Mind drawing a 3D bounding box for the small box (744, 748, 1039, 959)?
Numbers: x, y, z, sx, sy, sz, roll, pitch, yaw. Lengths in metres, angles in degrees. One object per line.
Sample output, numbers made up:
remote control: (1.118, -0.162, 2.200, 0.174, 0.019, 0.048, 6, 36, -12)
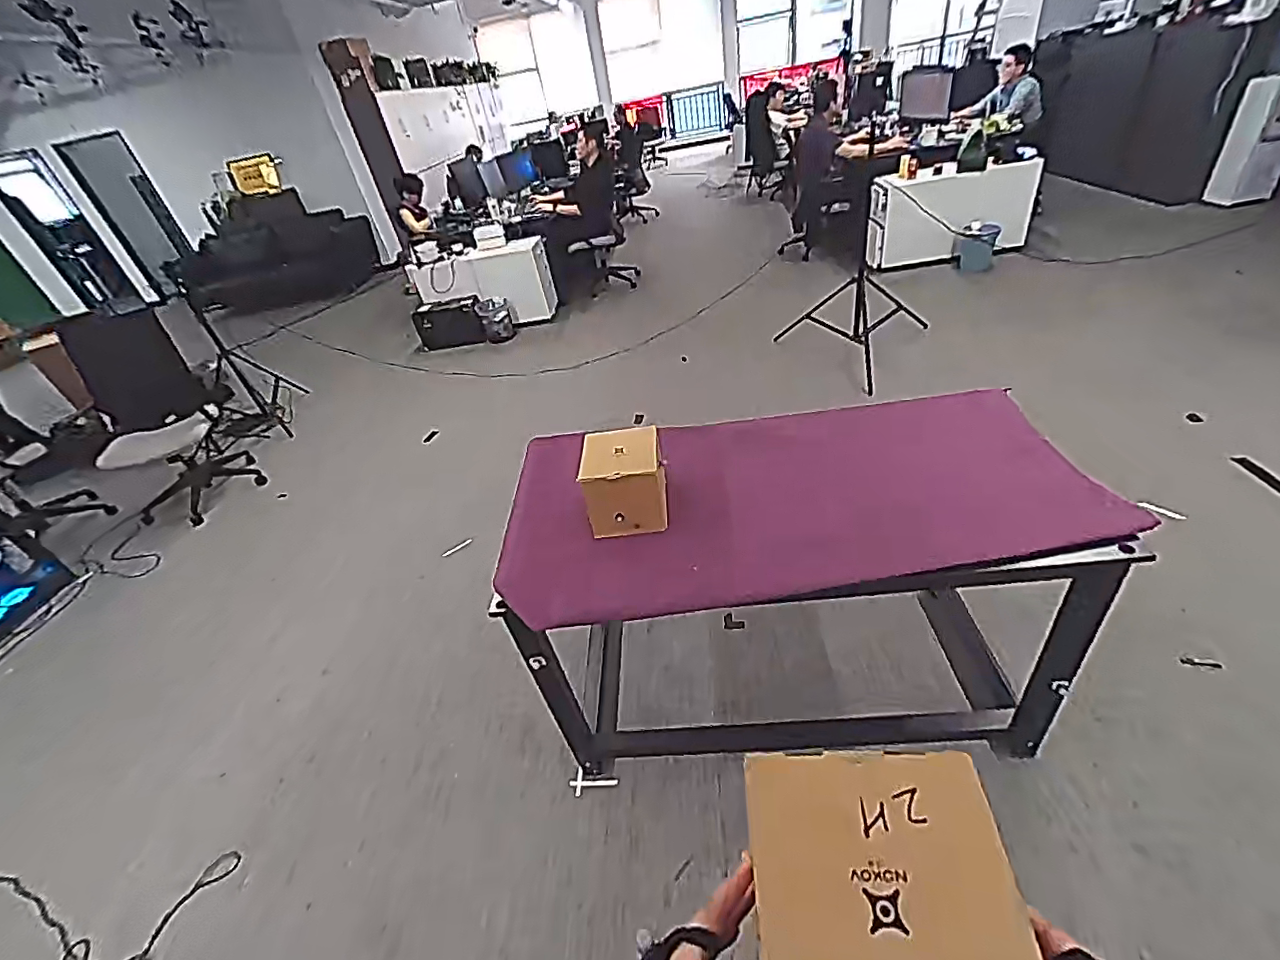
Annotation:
small box: (0.170, 0.322, 0.408, 0.168, 0.176, 0.179, -4, 45, 8)

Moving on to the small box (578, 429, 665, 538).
small box: (-0.035, 0.007, 1.210, 0.168, 0.176, 0.179, -7, 38, 6)
